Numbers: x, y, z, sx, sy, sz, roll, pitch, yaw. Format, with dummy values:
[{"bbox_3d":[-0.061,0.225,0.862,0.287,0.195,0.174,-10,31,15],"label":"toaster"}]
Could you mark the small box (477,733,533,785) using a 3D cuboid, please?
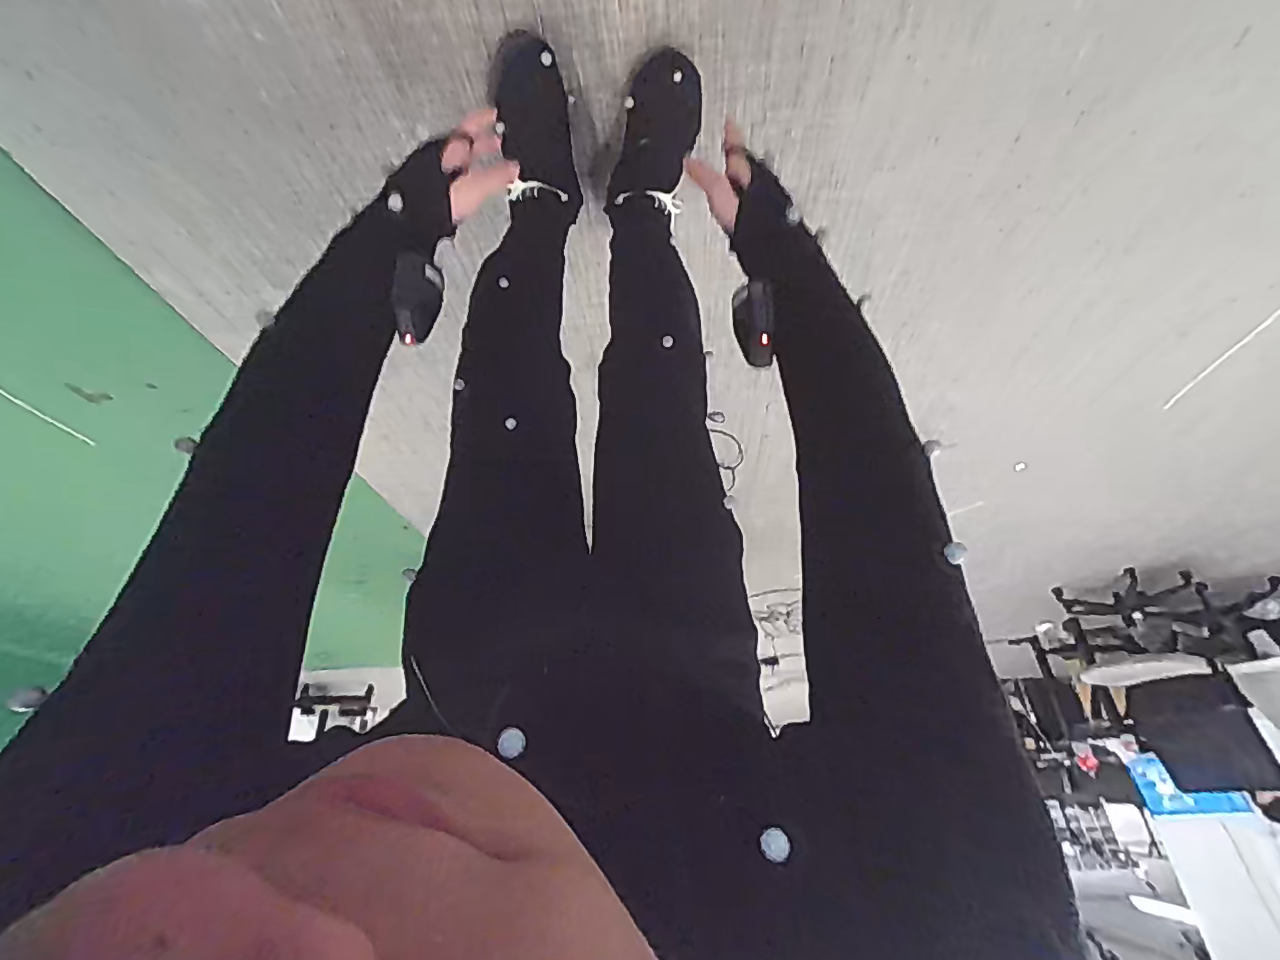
[{"bbox_3d":[-0.513,1.072,2.077,0.168,0.176,0.179,-5,150,2],"label":"small box"}]
